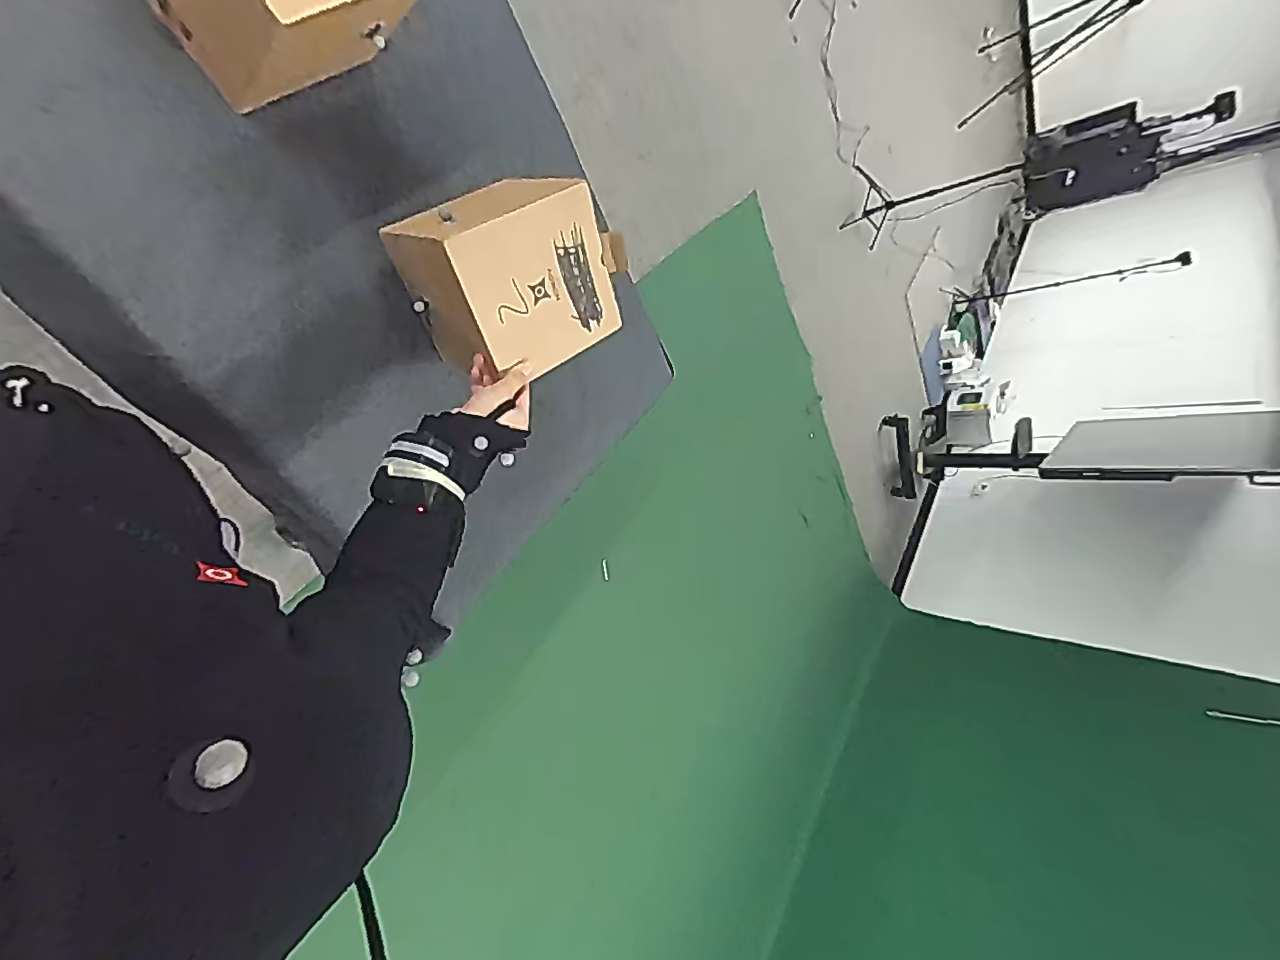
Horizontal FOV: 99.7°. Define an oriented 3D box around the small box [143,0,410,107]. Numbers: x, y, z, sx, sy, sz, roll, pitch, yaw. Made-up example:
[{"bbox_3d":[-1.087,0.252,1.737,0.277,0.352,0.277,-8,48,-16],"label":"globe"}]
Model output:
[{"bbox_3d":[-0.331,-0.474,0.473,0.179,0.176,0.168,-55,128,-29],"label":"small box"}]
